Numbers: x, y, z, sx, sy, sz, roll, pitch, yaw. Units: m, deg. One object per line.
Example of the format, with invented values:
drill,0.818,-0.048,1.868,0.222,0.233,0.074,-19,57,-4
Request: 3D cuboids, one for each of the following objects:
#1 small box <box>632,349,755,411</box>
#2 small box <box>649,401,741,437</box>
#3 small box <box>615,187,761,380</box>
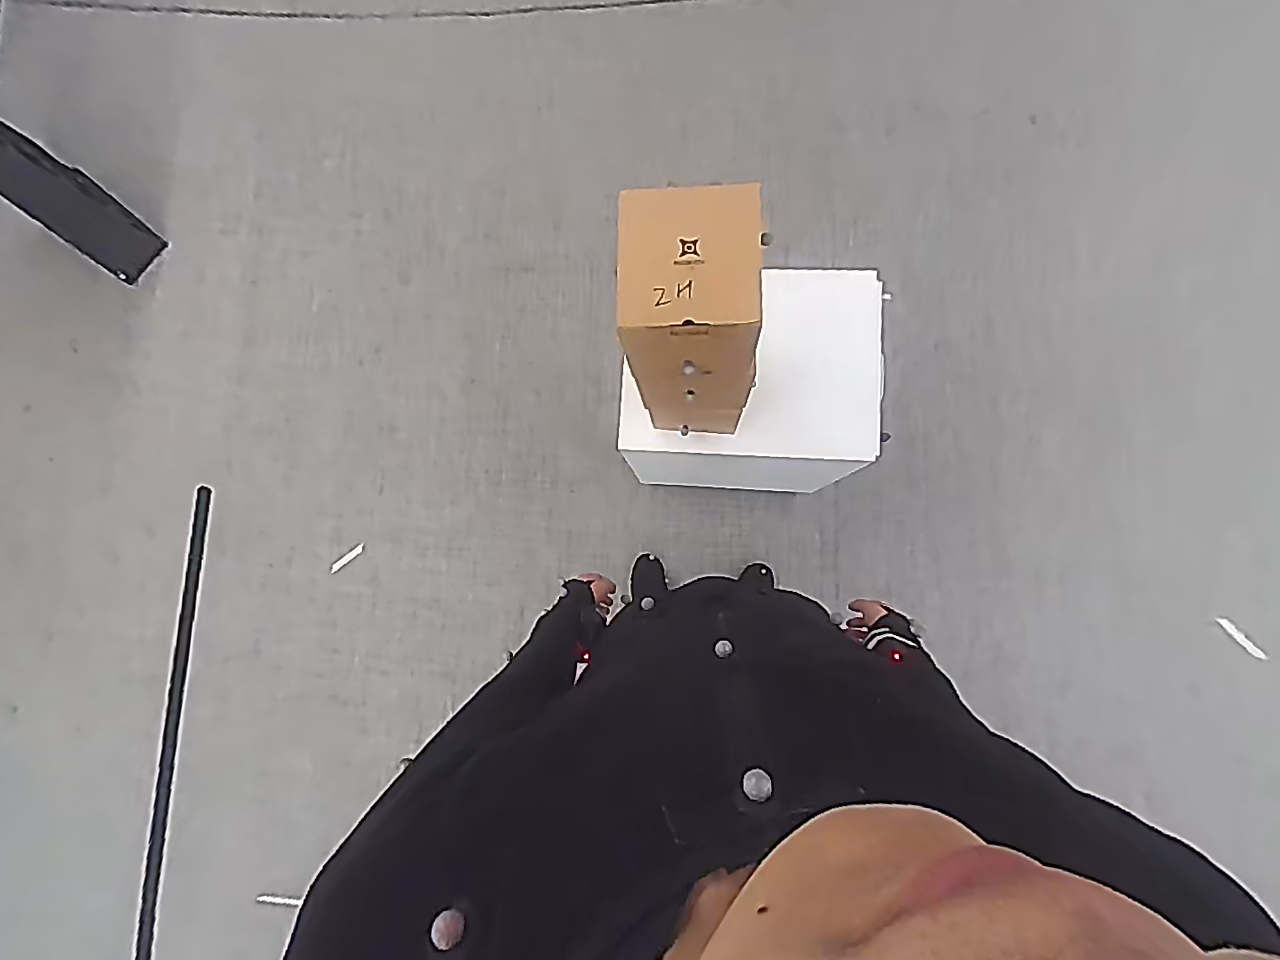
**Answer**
small box,0.083,-0.211,0.856,0.179,0.176,0.168,-1,81,6
small box,0.103,-0.189,1.017,0.168,0.176,0.179,4,82,6
small box,0.062,-0.241,0.695,0.168,0.176,0.179,0,81,6
